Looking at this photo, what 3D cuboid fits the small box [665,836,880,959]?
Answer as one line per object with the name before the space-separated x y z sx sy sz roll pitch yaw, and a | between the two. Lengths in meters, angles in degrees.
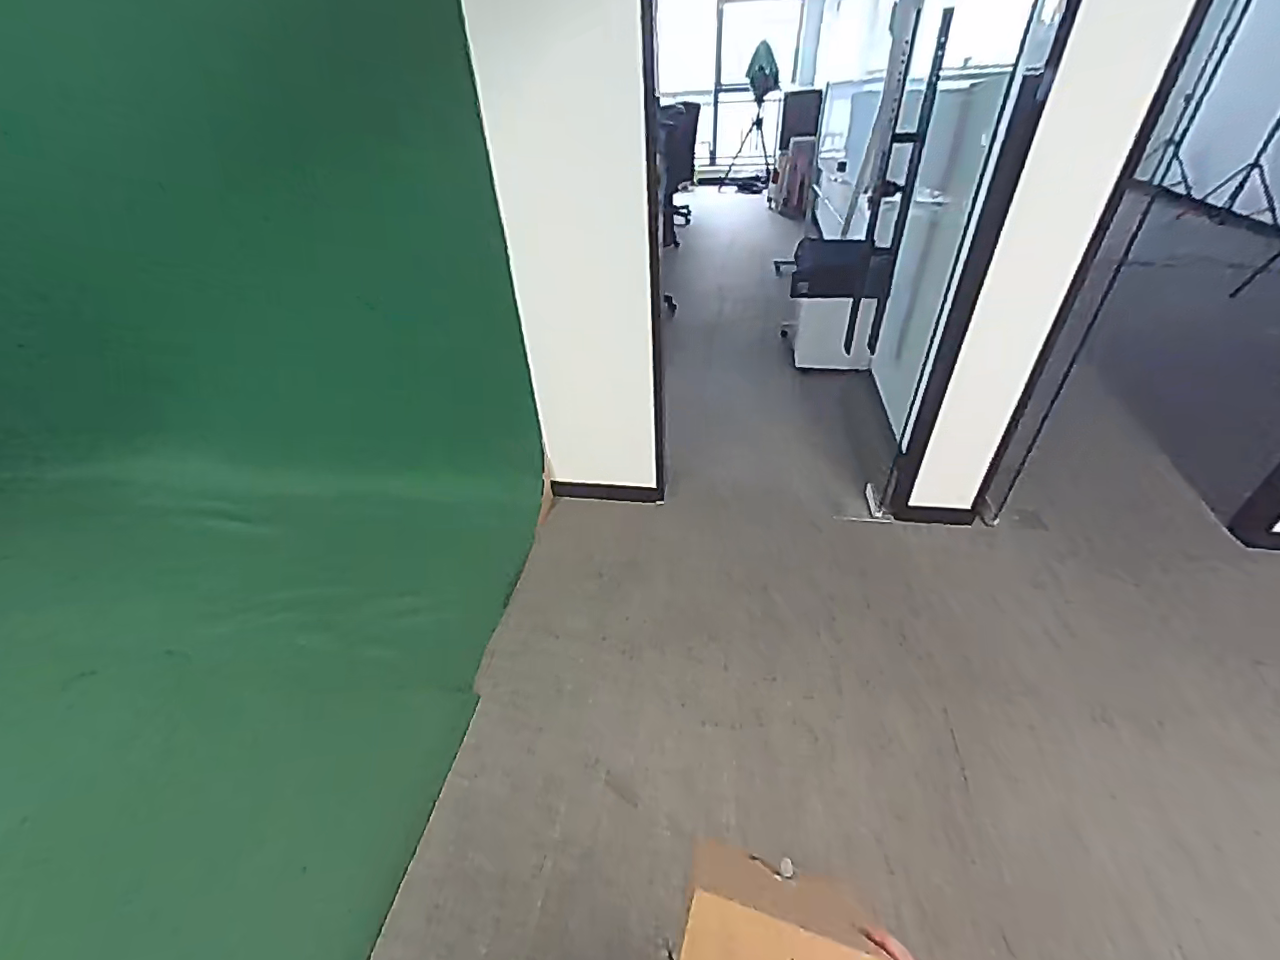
small box | 0.105 0.456 0.475 0.168 0.176 0.179 13 73 10
